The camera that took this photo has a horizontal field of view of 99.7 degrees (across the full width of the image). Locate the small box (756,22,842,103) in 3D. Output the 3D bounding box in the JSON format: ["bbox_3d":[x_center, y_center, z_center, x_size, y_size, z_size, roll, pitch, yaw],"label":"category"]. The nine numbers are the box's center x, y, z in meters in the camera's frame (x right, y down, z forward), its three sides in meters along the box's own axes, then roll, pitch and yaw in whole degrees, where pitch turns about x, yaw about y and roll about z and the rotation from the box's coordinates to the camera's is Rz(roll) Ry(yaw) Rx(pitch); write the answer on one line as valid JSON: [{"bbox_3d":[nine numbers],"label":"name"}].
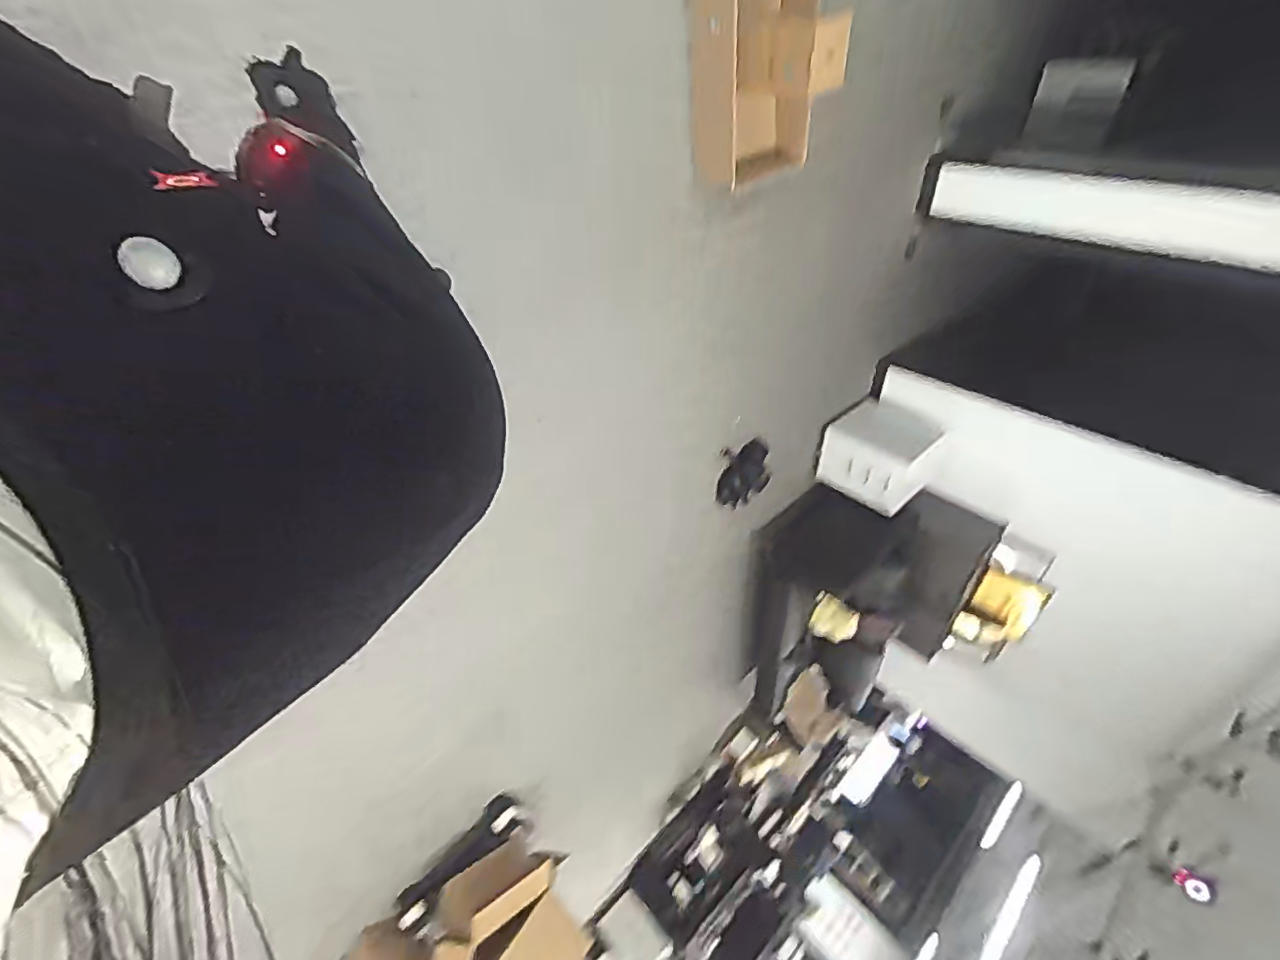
[{"bbox_3d":[0.456,-1.214,1.573,0.179,0.176,0.168,-38,142,-28],"label":"small box"}]

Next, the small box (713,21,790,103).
[{"bbox_3d":[0.339,-1.282,1.659,0.168,0.176,0.179,-37,139,-26],"label":"small box"}]
